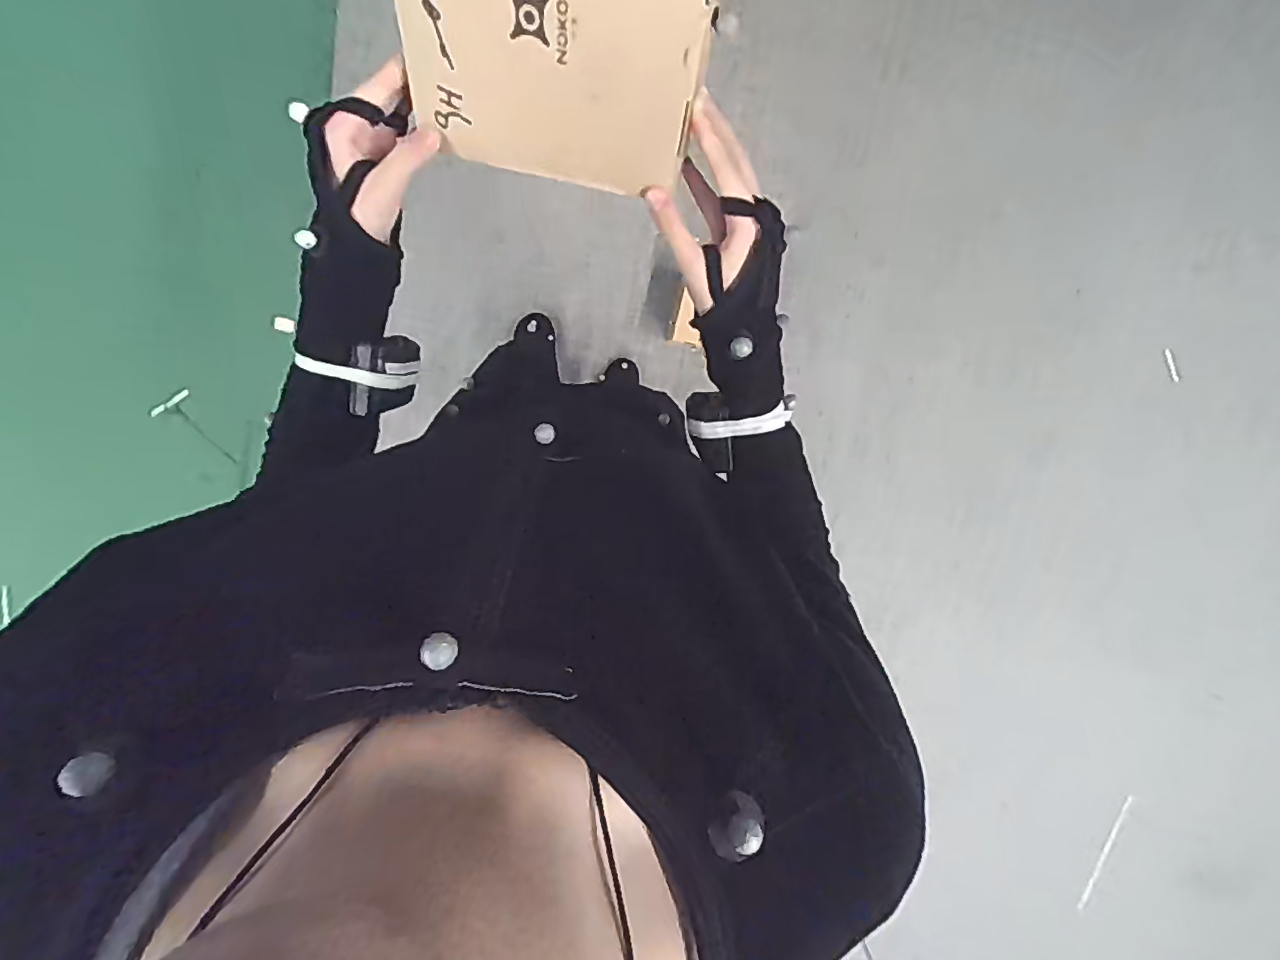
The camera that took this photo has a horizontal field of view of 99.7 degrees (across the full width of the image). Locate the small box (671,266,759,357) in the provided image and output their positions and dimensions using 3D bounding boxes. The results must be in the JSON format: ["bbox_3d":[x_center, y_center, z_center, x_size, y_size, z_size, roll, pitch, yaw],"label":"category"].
[{"bbox_3d":[0.177,-0.412,1.343,0.168,0.176,0.179,13,103,-5],"label":"small box"}]

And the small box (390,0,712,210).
[{"bbox_3d":[-0.042,-0.311,0.349,0.179,0.176,0.168,12,143,-1],"label":"small box"}]
